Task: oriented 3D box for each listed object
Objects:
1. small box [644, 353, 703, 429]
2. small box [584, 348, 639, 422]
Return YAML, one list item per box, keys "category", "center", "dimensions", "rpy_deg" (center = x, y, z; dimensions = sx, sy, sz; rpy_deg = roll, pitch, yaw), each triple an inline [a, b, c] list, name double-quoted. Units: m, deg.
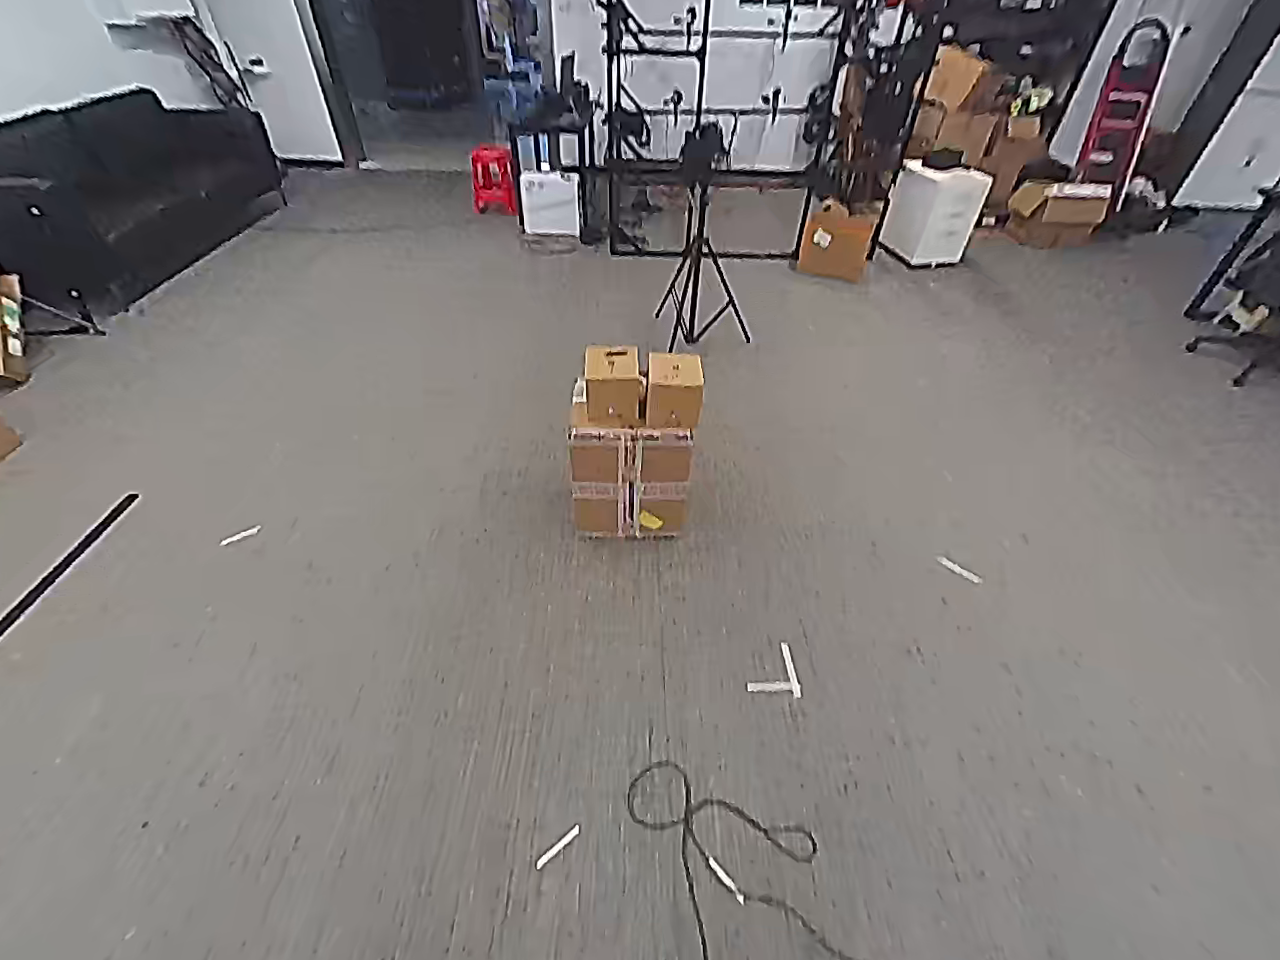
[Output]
- category: "small box"
  center: [0.101, -0.283, 1.718]
  dimensions: [0.168, 0.176, 0.179]
  rpy_deg: [2, 44, -2]
- category: "small box"
  center: [-0.091, -0.306, 1.734]
  dimensions: [0.168, 0.176, 0.179]
  rpy_deg: [-2, 46, -2]
